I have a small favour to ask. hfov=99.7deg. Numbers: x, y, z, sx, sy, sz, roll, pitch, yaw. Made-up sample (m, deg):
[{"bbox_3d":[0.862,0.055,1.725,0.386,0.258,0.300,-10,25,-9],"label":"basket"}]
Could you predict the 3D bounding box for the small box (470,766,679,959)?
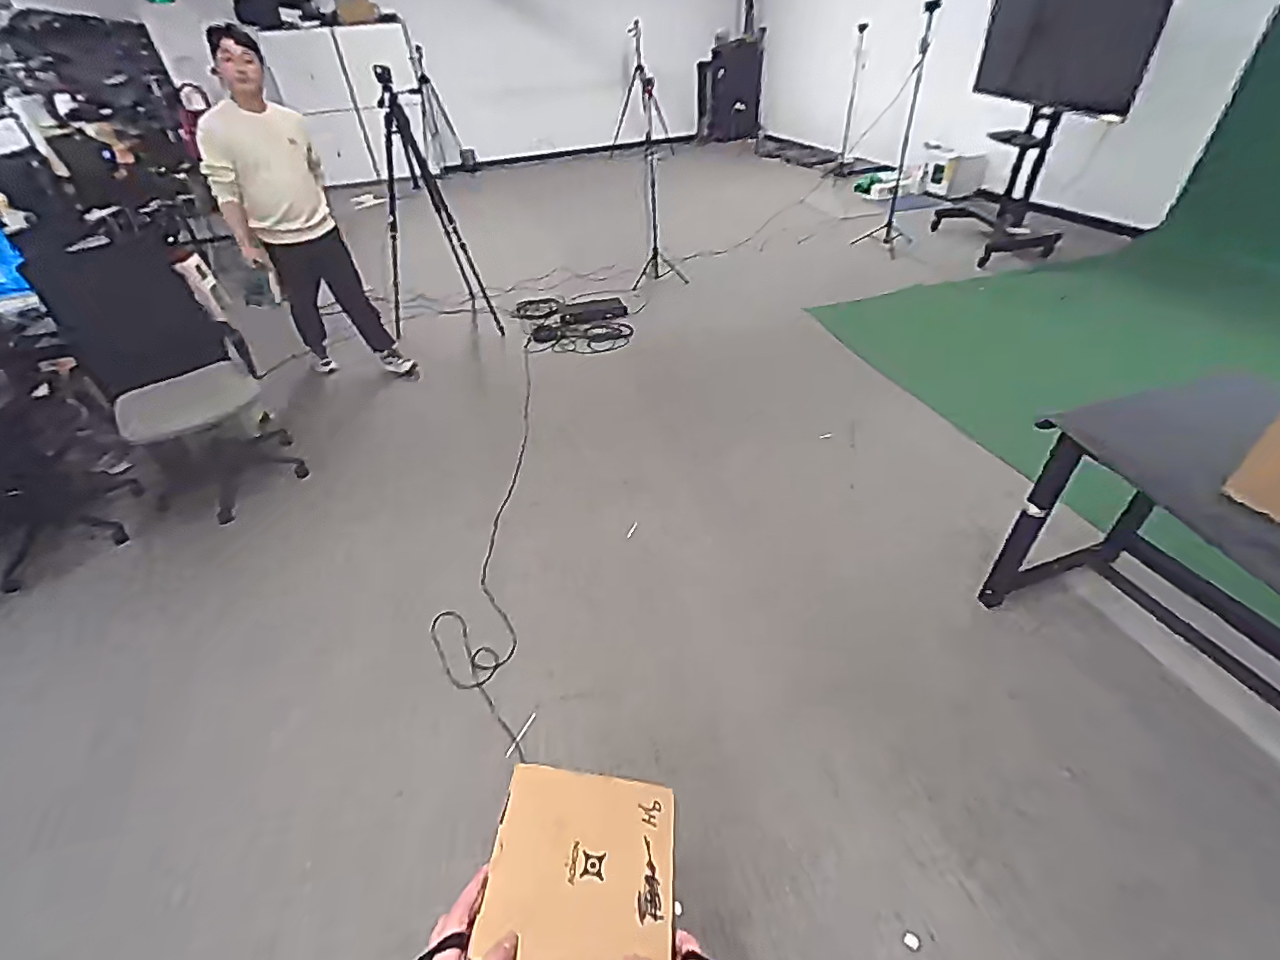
[{"bbox_3d":[-0.064,0.431,0.557,0.179,0.176,0.168,12,34,-2],"label":"small box"}]
